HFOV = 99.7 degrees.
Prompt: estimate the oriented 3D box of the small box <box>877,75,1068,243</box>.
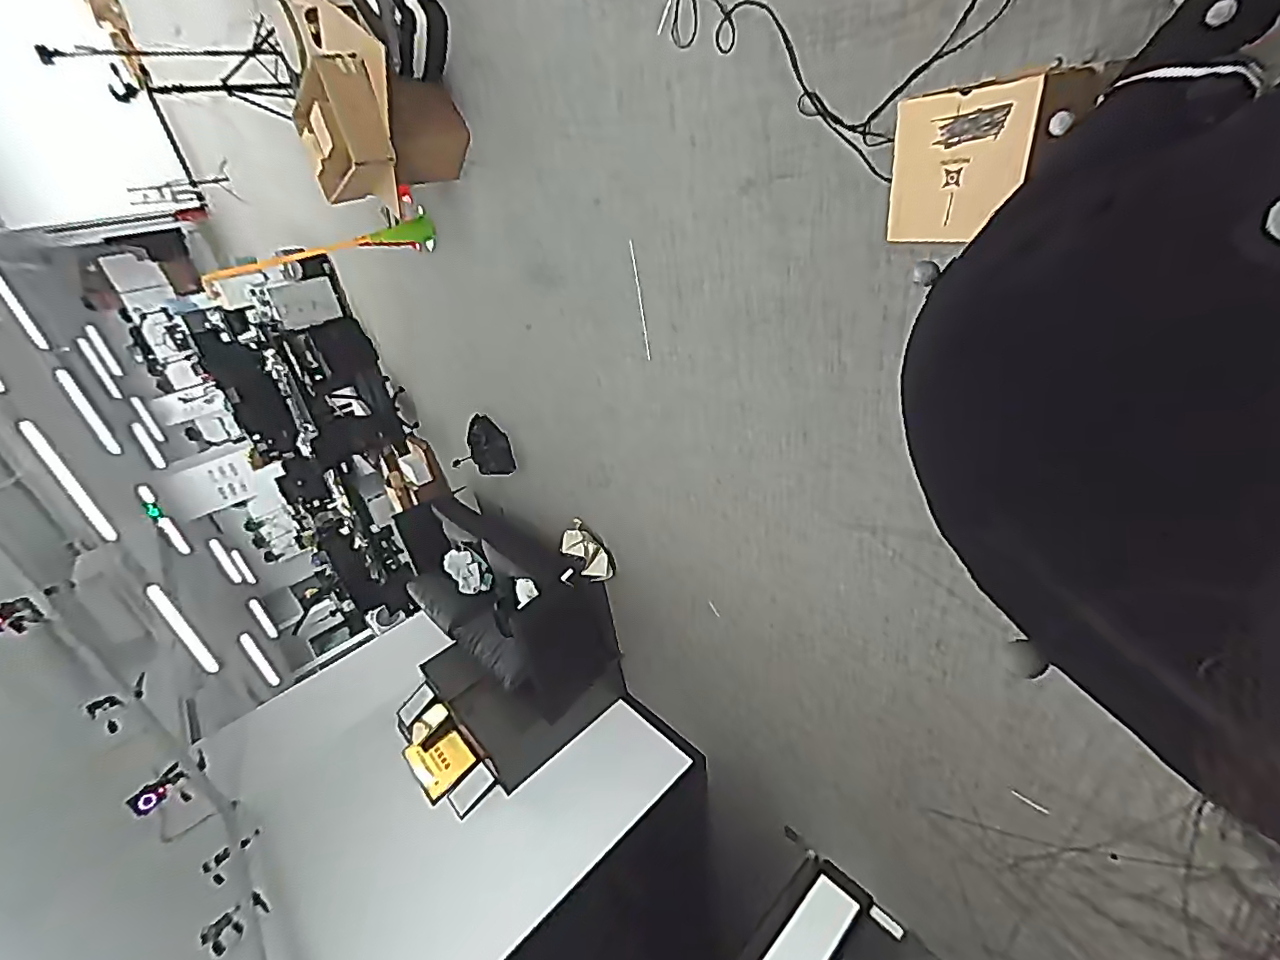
[{"bbox_3d":[0.454,-0.440,0.745,0.168,0.176,0.179,25,137,41],"label":"small box"}]
